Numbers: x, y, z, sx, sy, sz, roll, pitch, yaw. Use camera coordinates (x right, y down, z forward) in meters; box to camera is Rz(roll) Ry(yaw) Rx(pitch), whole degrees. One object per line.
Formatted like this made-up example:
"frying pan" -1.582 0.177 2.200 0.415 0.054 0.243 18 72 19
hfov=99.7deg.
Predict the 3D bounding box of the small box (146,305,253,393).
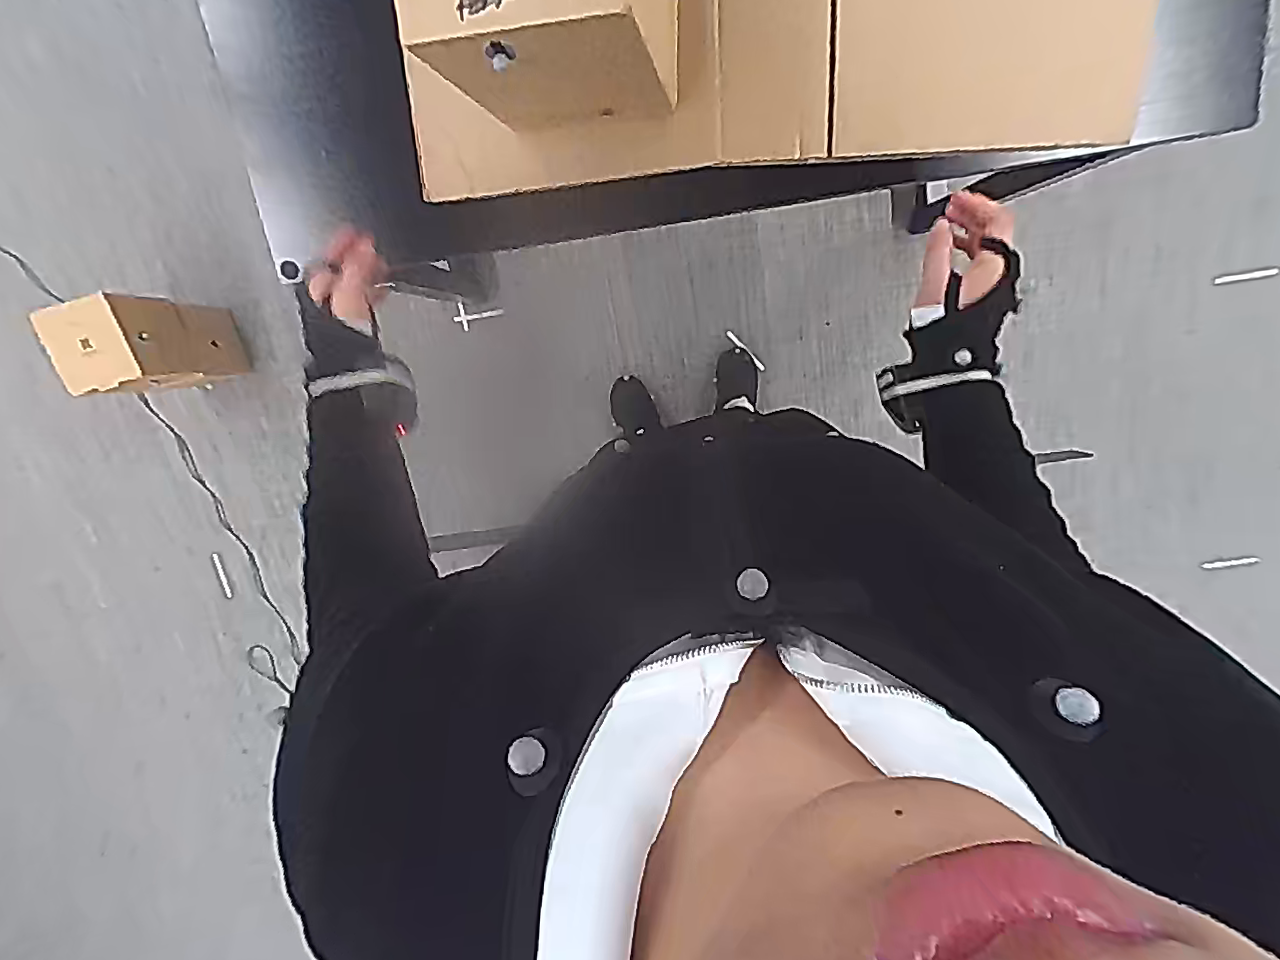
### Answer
"small box" -1.121 -0.325 1.347 0.168 0.176 0.179 -12 104 3

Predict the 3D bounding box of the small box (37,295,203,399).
"small box" -1.125 -0.290 1.188 0.168 0.176 0.179 -16 102 3

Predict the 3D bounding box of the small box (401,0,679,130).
"small box" -0.064 -0.401 0.411 0.168 0.176 0.179 3 105 13
